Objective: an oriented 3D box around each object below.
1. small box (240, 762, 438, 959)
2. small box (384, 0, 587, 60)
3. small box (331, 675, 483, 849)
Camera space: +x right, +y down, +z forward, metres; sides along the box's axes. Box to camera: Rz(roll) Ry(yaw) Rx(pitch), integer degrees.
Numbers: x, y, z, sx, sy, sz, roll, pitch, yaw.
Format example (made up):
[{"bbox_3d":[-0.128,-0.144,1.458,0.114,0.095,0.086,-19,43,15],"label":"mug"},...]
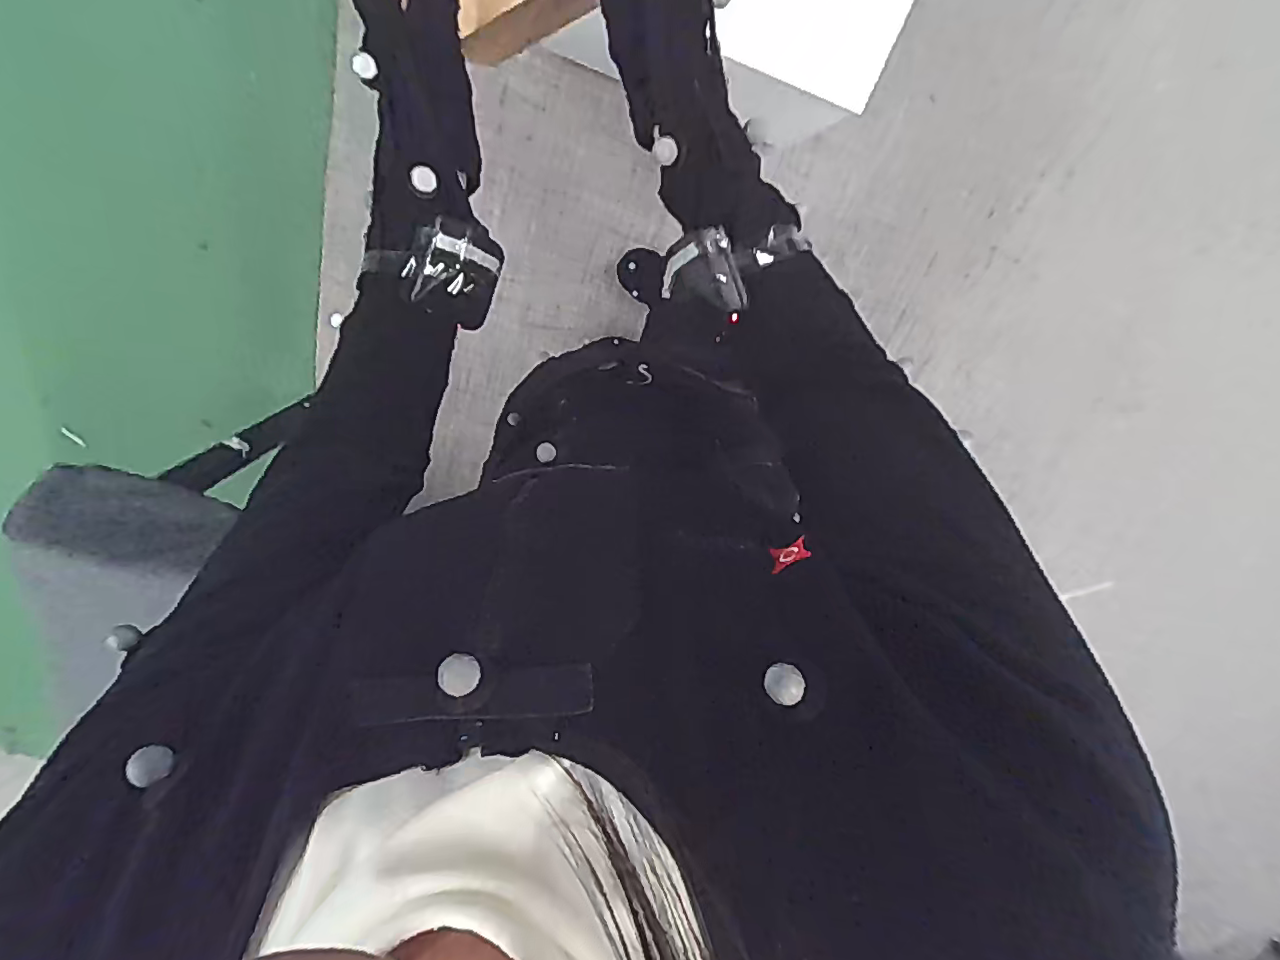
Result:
[{"bbox_3d":[-0.391,0.521,0.725,0.168,0.176,0.179,20,120,-3],"label":"small box"},{"bbox_3d":[-0.103,-0.419,0.363,0.179,0.176,0.168,-18,123,16],"label":"small box"},{"bbox_3d":[-0.373,0.446,0.870,0.179,0.176,0.168,22,118,-5],"label":"small box"}]
